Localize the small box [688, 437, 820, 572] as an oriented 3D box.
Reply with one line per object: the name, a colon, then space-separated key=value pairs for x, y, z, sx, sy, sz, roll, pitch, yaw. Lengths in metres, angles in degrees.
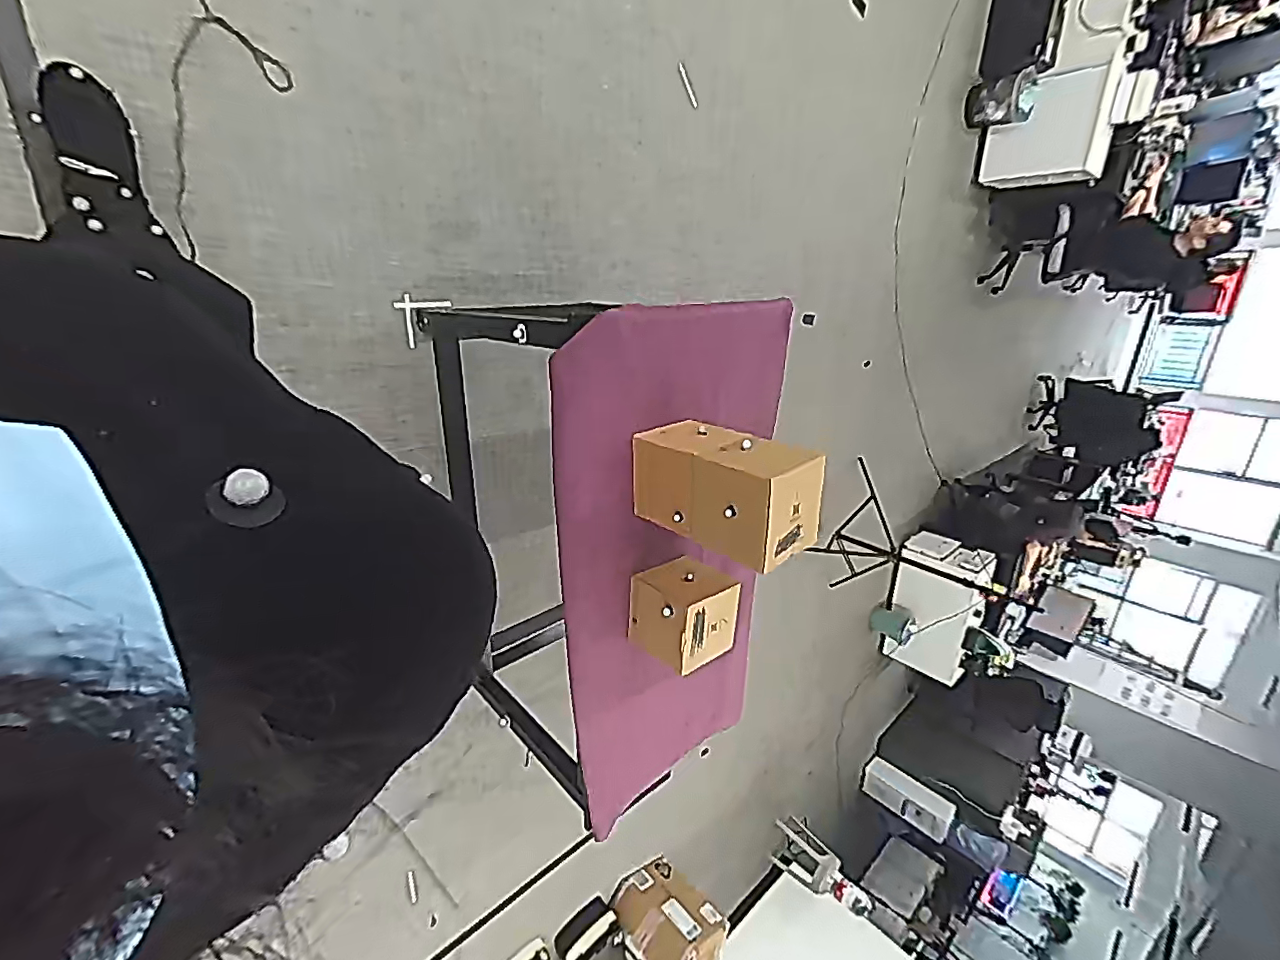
small box: x=0.200 y=0.035 z=0.980 sx=0.168 sy=0.176 sz=0.179 roll=-20 pitch=118 yaw=-39

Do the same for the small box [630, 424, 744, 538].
small box: x=0.092 y=-0.010 z=1.095 sx=0.168 sy=0.176 sz=0.179 roll=-20 pitch=119 yaw=-39
